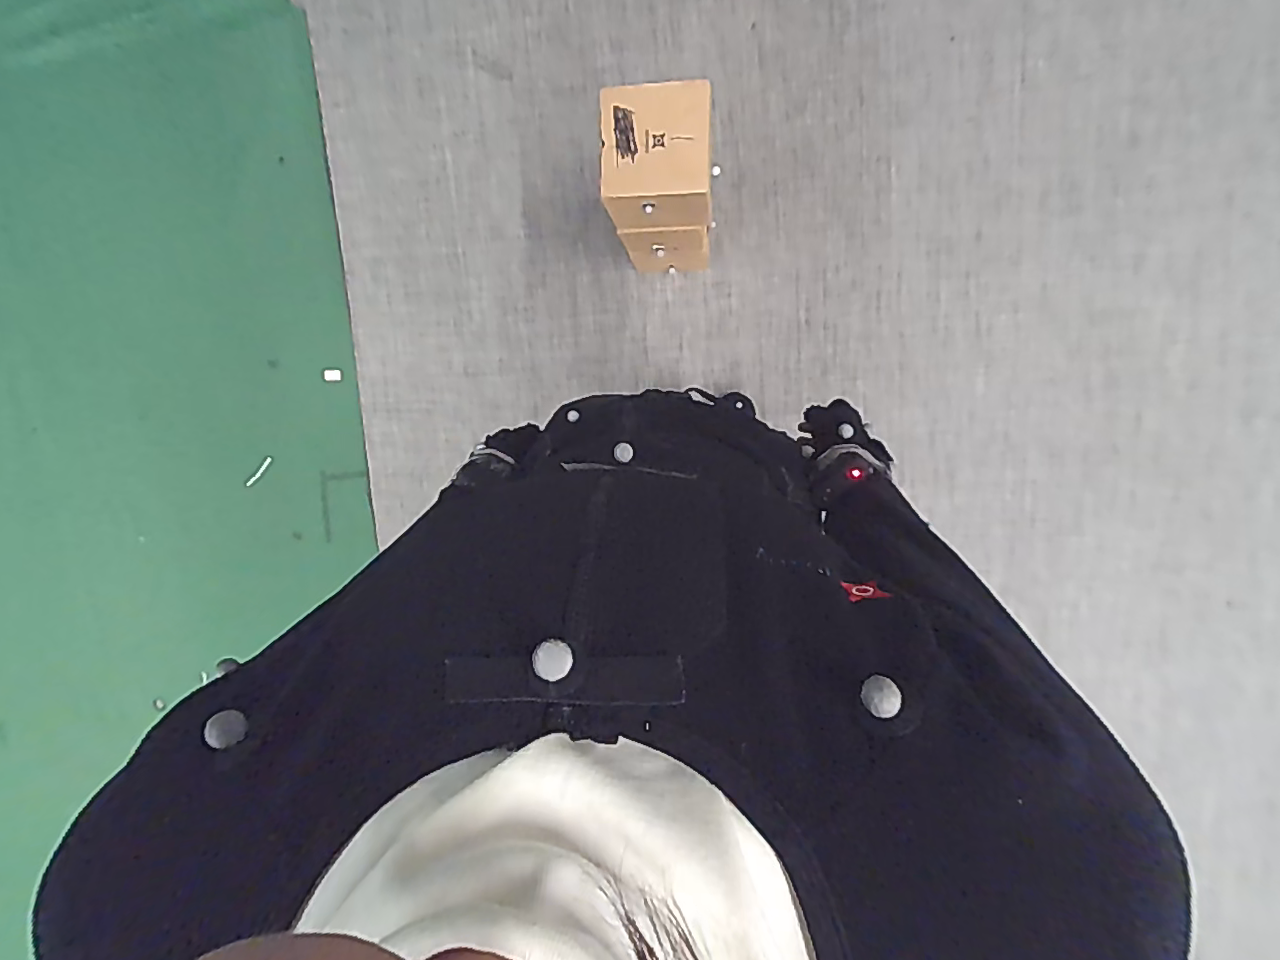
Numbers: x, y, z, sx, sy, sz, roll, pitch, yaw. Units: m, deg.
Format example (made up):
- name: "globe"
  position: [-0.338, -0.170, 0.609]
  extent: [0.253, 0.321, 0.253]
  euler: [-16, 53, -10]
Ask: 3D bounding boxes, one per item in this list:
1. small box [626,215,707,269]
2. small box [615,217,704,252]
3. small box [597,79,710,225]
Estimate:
- name: "small box"
  position: [0.066, -0.597, 1.257]
  extent: [0.179, 0.176, 0.168]
  euler: [2, 99, 7]
- name: "small box"
  position: [0.044, -0.578, 1.098]
  extent: [0.168, 0.176, 0.179]
  euler: [1, 100, 9]
- name: "small box"
  position: [0.029, -0.553, 0.935]
  extent: [0.179, 0.176, 0.168]
  euler: [2, 99, 8]
